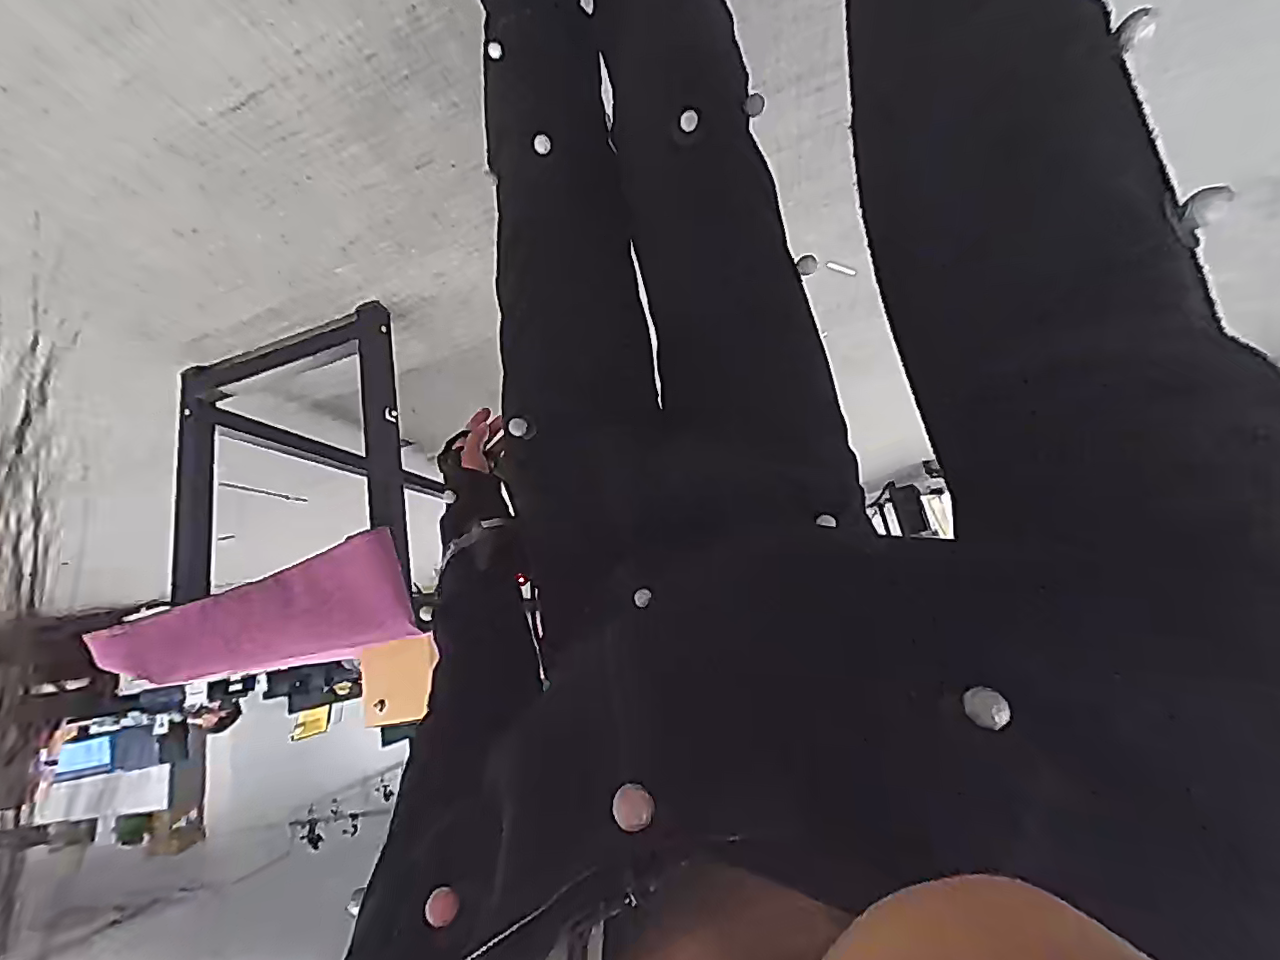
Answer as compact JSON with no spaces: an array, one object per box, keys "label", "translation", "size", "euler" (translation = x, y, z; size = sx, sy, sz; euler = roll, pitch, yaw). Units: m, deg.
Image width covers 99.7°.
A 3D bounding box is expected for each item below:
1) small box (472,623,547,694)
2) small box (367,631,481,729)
[{"label":"small box","translation":[-0.393,0.512,1.563],"size":[0.179,0.176,0.168],"euler":[-17,165,17]},{"label":"small box","translation":[-0.477,0.435,1.198],"size":[0.179,0.176,0.168],"euler":[-14,166,13]}]
